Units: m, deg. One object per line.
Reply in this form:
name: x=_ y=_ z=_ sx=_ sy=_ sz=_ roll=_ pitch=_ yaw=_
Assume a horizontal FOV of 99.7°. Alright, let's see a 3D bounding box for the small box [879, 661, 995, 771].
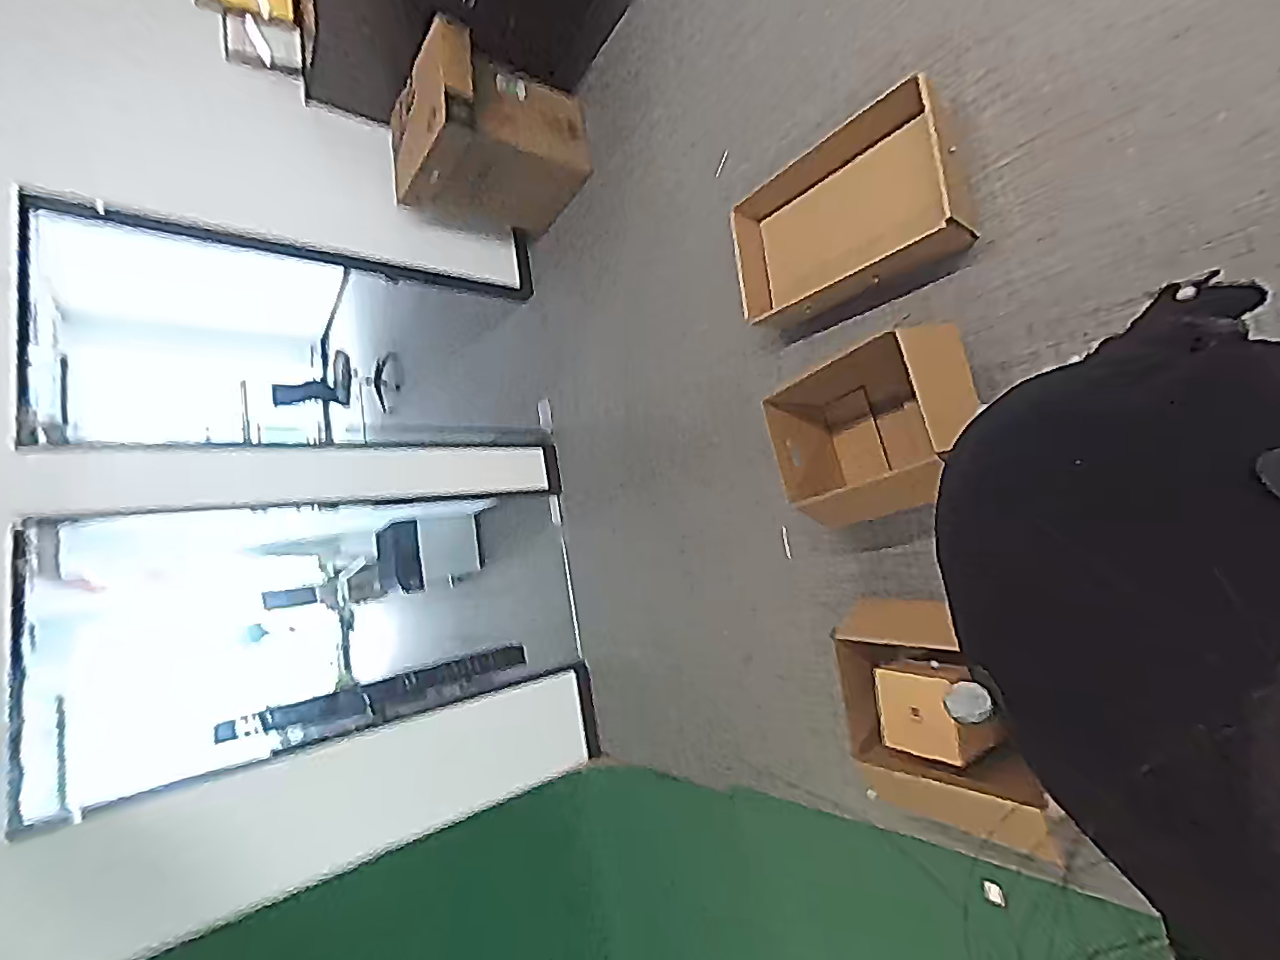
small box: x=0.665 y=0.514 z=1.211 sx=0.168 sy=0.176 sz=0.179 roll=-14 pitch=80 yaw=51
